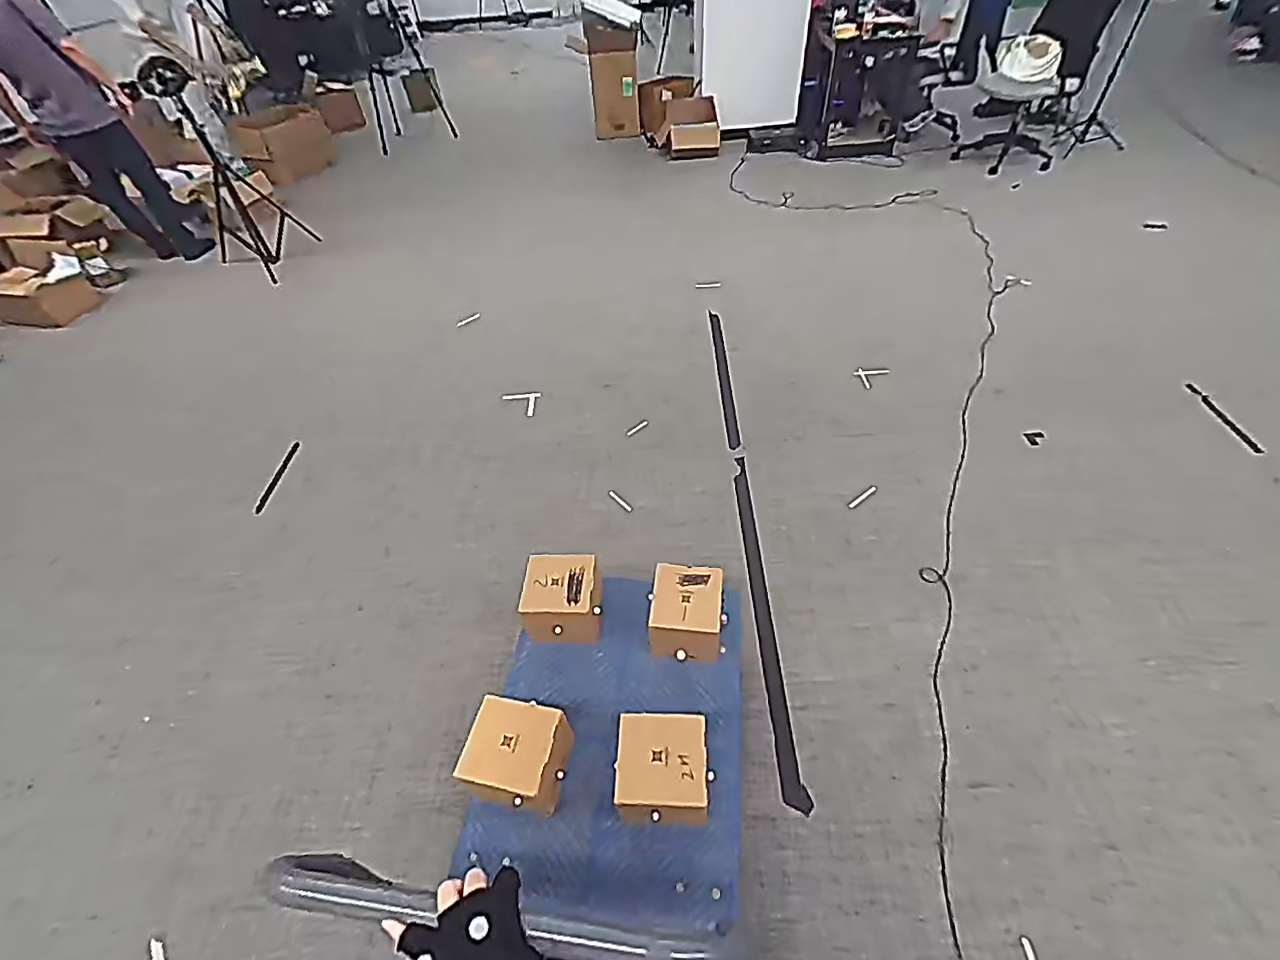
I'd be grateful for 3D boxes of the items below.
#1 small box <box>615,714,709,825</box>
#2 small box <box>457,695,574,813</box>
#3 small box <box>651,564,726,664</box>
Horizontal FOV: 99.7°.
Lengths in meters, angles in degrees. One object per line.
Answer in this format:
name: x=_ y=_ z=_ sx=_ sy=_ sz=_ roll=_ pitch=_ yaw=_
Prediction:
small box: x=0.051 y=0.595 z=1.109 sx=0.179 sy=0.176 sz=0.168 roll=-1 pitch=47 yaw=5
small box: x=-0.254 y=0.586 z=1.151 sx=0.179 sy=0.176 sz=0.168 roll=7 pitch=48 yaw=10
small box: x=0.122 y=0.333 z=1.347 sx=0.168 sy=0.176 sz=0.179 roll=4 pitch=49 yaw=9
